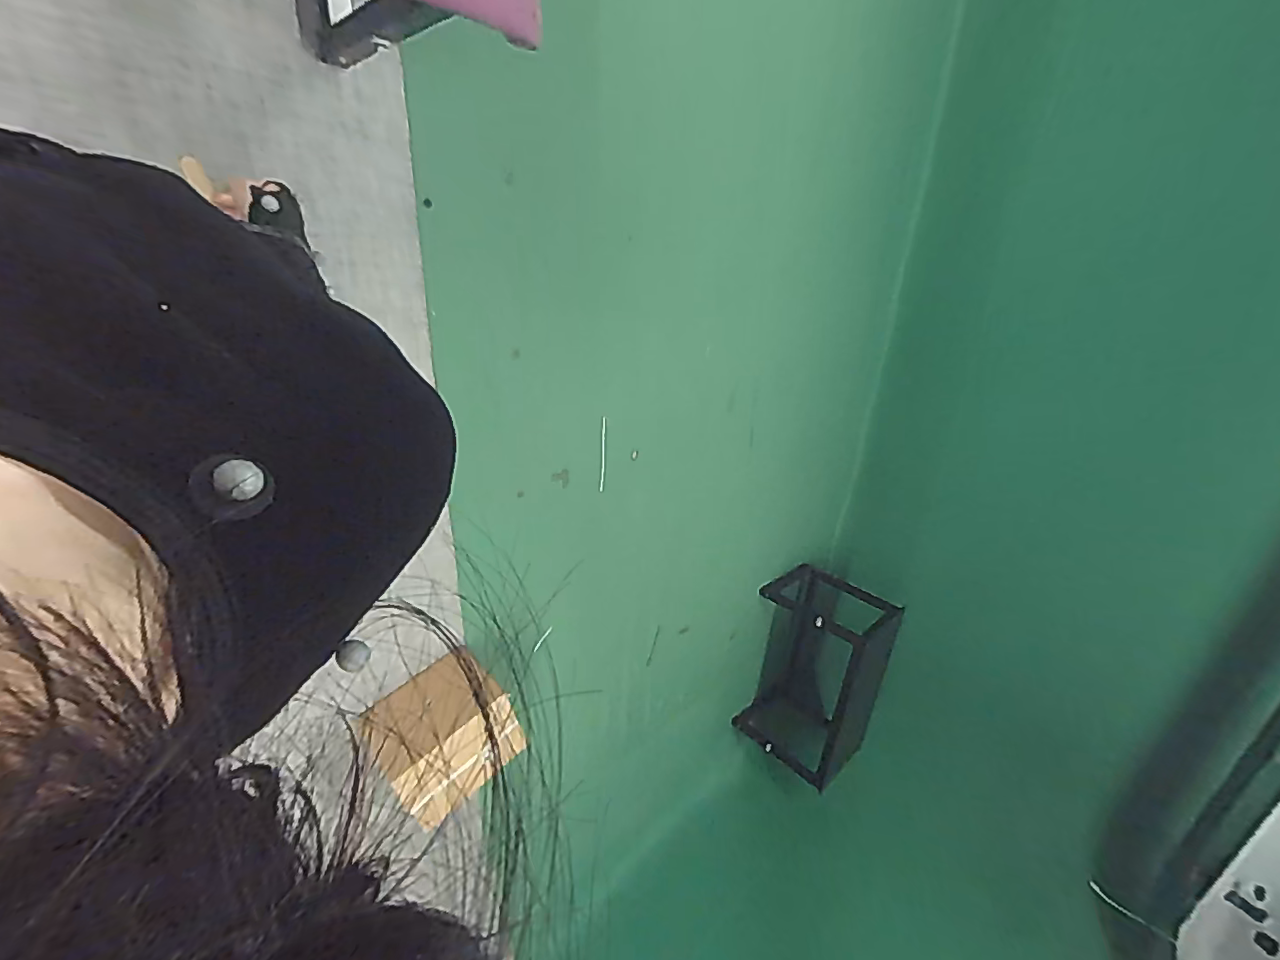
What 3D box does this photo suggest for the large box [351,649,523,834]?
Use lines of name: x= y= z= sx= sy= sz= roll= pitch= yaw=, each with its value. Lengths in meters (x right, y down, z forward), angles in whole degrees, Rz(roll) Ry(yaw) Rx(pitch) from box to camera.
large box: x=-0.680 y=0.869 z=1.841 sx=0.408 sy=0.320 sz=0.320 roll=-34 pitch=132 yaw=-33
